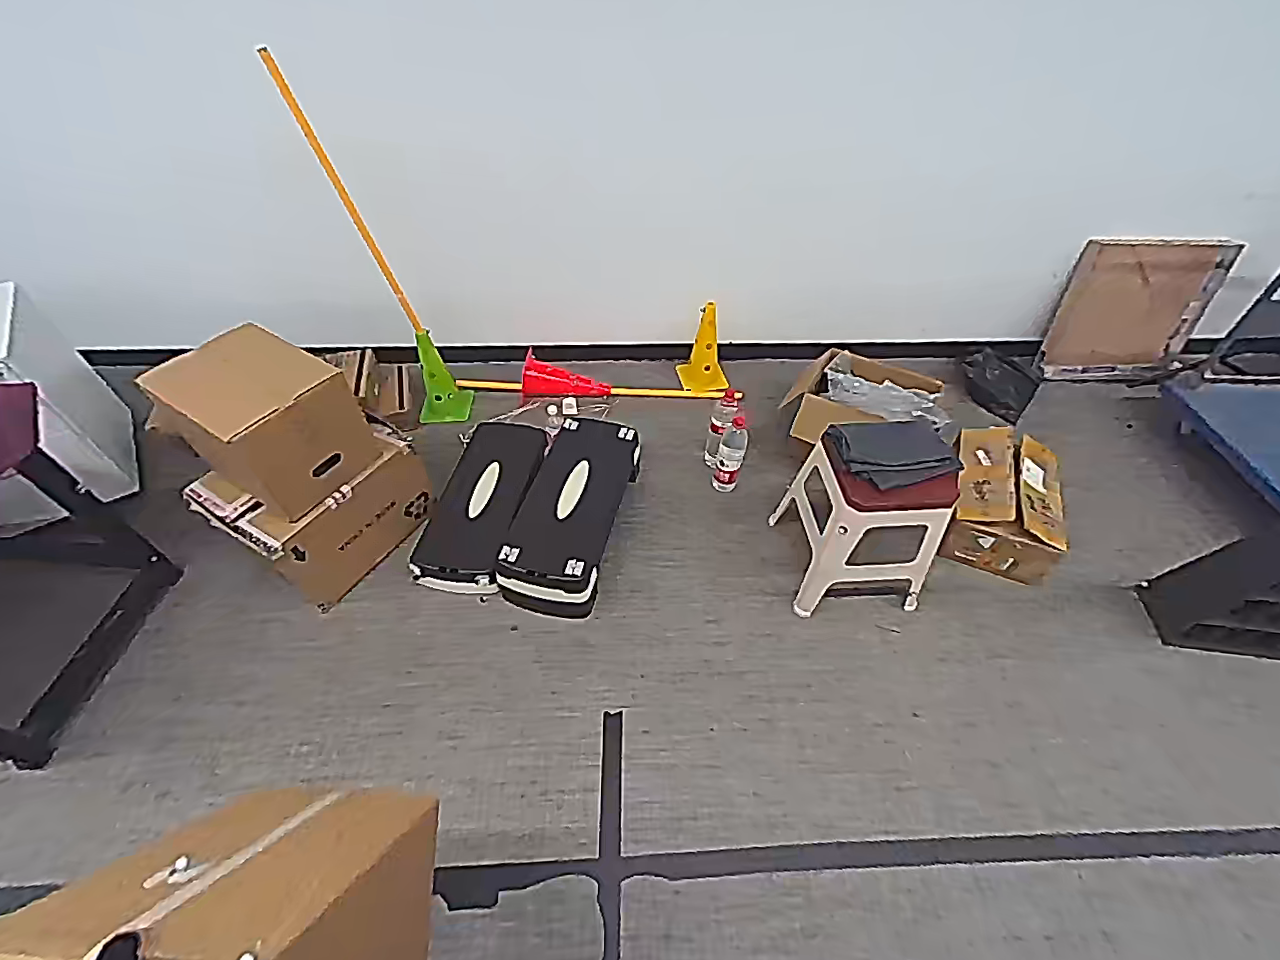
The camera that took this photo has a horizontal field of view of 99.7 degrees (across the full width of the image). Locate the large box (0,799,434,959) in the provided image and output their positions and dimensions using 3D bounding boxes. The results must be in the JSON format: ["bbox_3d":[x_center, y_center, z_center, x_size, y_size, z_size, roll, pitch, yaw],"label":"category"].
[{"bbox_3d":[-0.500,0.646,0.668,0.320,0.408,0.320,1,78,4],"label":"large box"}]
